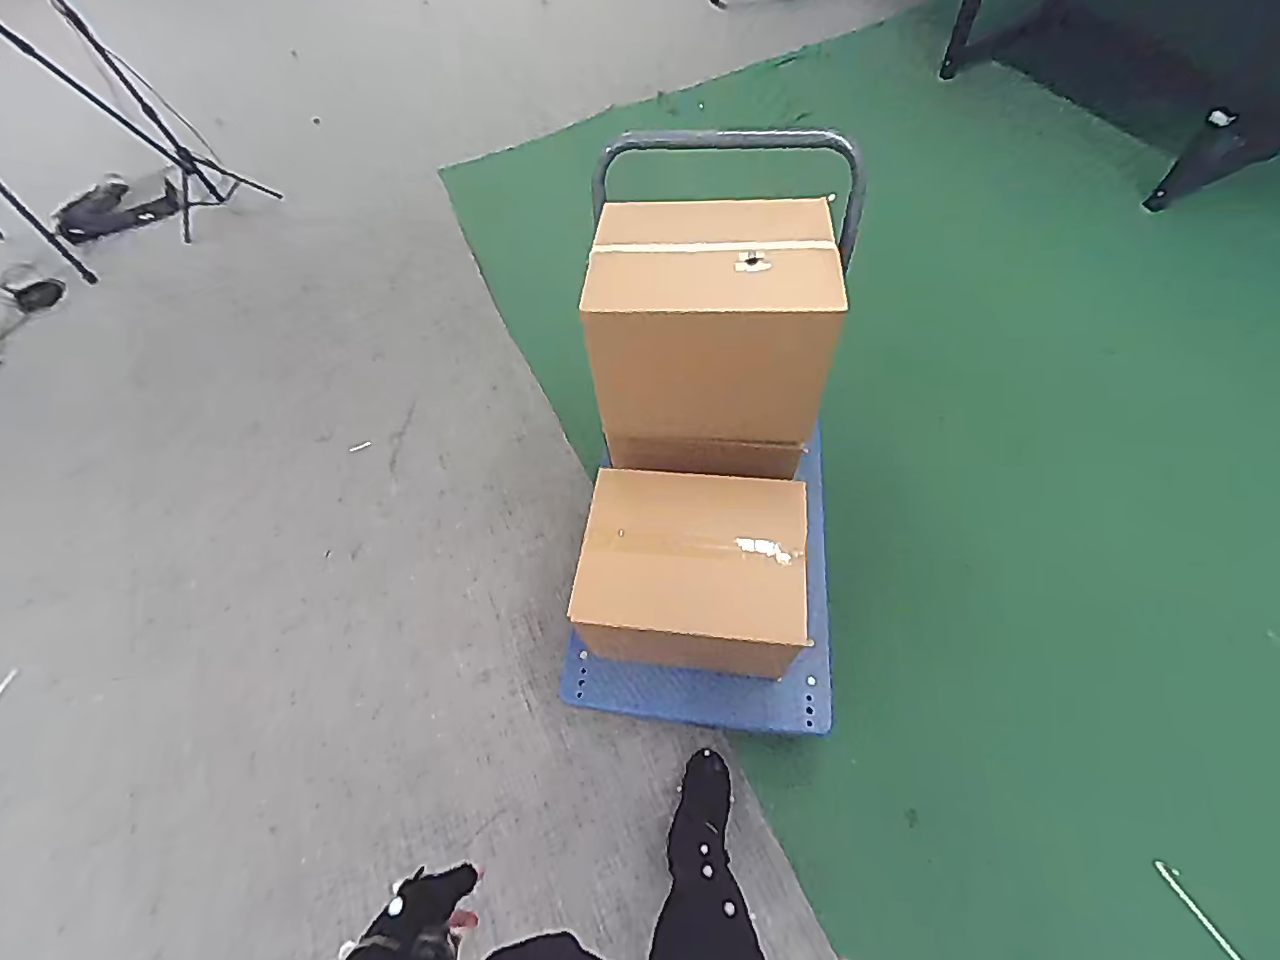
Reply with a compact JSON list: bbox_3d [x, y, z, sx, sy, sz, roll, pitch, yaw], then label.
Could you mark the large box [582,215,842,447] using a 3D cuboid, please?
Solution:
[{"bbox_3d":[0.125,-0.275,1.026,0.408,0.320,0.320,3,55,6],"label":"large box"}]
